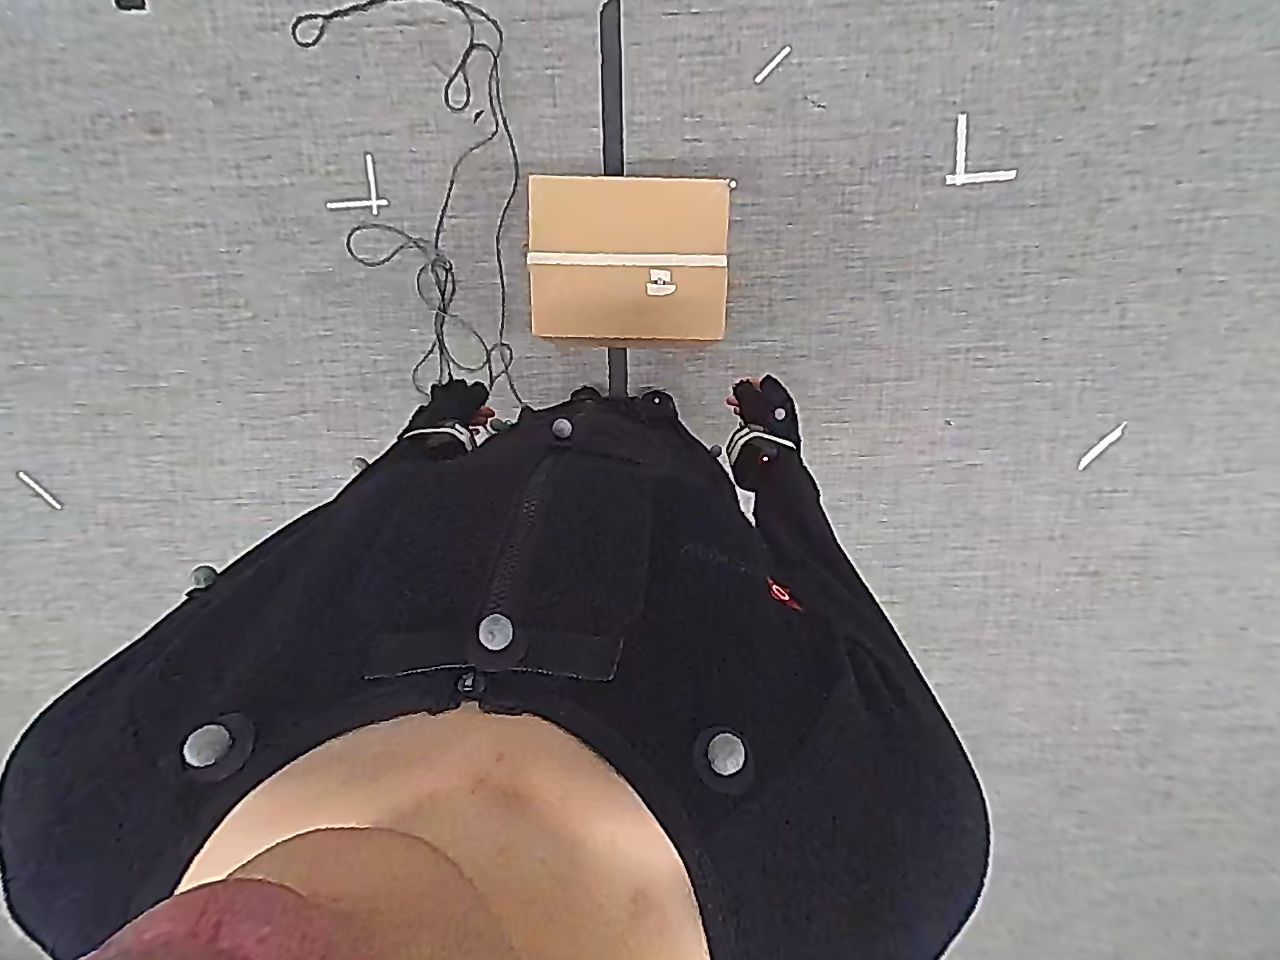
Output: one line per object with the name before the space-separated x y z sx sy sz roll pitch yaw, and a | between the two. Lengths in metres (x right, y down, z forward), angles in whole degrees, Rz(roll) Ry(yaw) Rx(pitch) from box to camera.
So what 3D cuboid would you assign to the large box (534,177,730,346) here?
large box | -0.020 -0.483 1.261 0.408 0.320 0.320 1 101 -1
